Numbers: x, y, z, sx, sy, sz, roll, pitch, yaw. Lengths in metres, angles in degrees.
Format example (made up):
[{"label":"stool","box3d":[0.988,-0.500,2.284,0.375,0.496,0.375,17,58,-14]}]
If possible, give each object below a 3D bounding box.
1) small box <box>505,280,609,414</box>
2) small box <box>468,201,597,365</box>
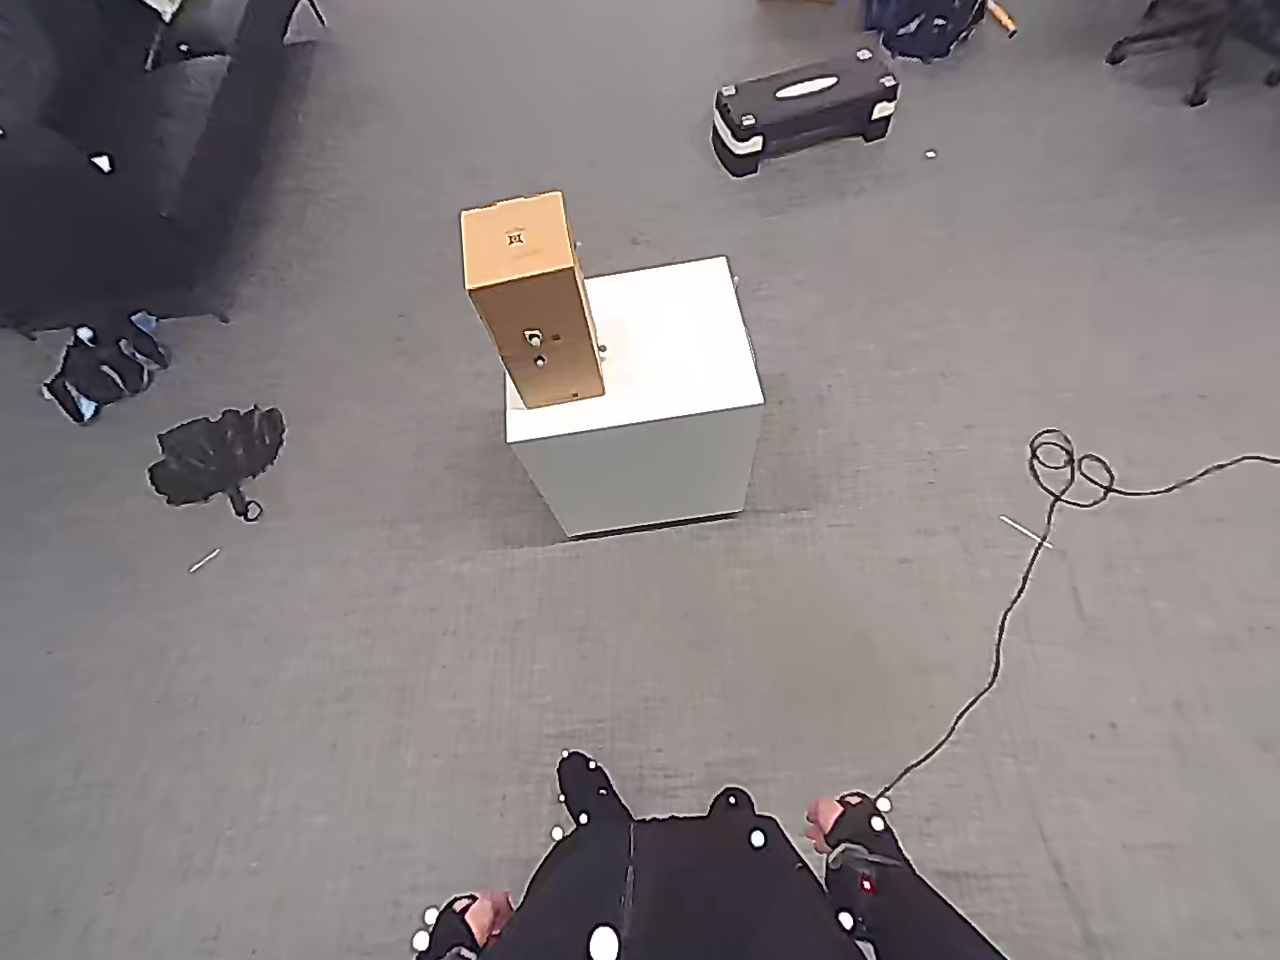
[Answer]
[{"label":"small box","box3d":[-0.159,-0.255,1.052,0.168,0.176,0.179,-11,63,1]},{"label":"small box","box3d":[-0.176,-0.324,0.906,0.168,0.176,0.179,-13,64,1]}]
